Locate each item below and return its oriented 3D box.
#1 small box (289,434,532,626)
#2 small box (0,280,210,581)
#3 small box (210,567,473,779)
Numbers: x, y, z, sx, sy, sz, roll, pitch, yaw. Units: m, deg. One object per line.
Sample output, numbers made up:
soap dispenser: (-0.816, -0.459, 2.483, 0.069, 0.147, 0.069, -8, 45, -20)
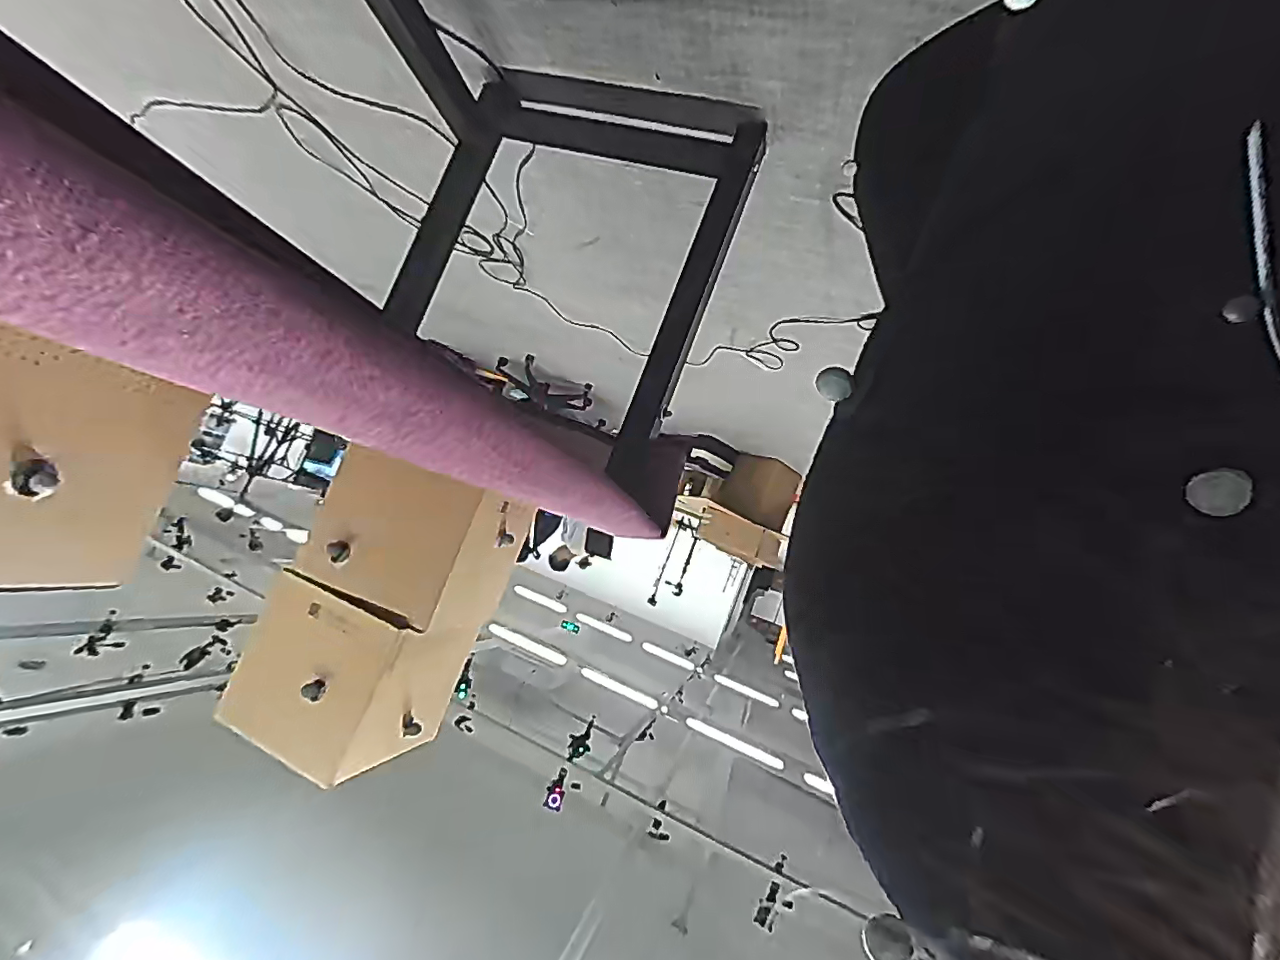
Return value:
small box: (-0.257, 0.055, 0.645, 0.179, 0.176, 0.168, 20, 174, 10)
small box: (-0.428, -0.047, 0.327, 0.168, 0.176, 0.179, 20, 175, 12)
small box: (-0.327, 0.202, 0.627, 0.168, 0.176, 0.179, 20, 174, 14)
